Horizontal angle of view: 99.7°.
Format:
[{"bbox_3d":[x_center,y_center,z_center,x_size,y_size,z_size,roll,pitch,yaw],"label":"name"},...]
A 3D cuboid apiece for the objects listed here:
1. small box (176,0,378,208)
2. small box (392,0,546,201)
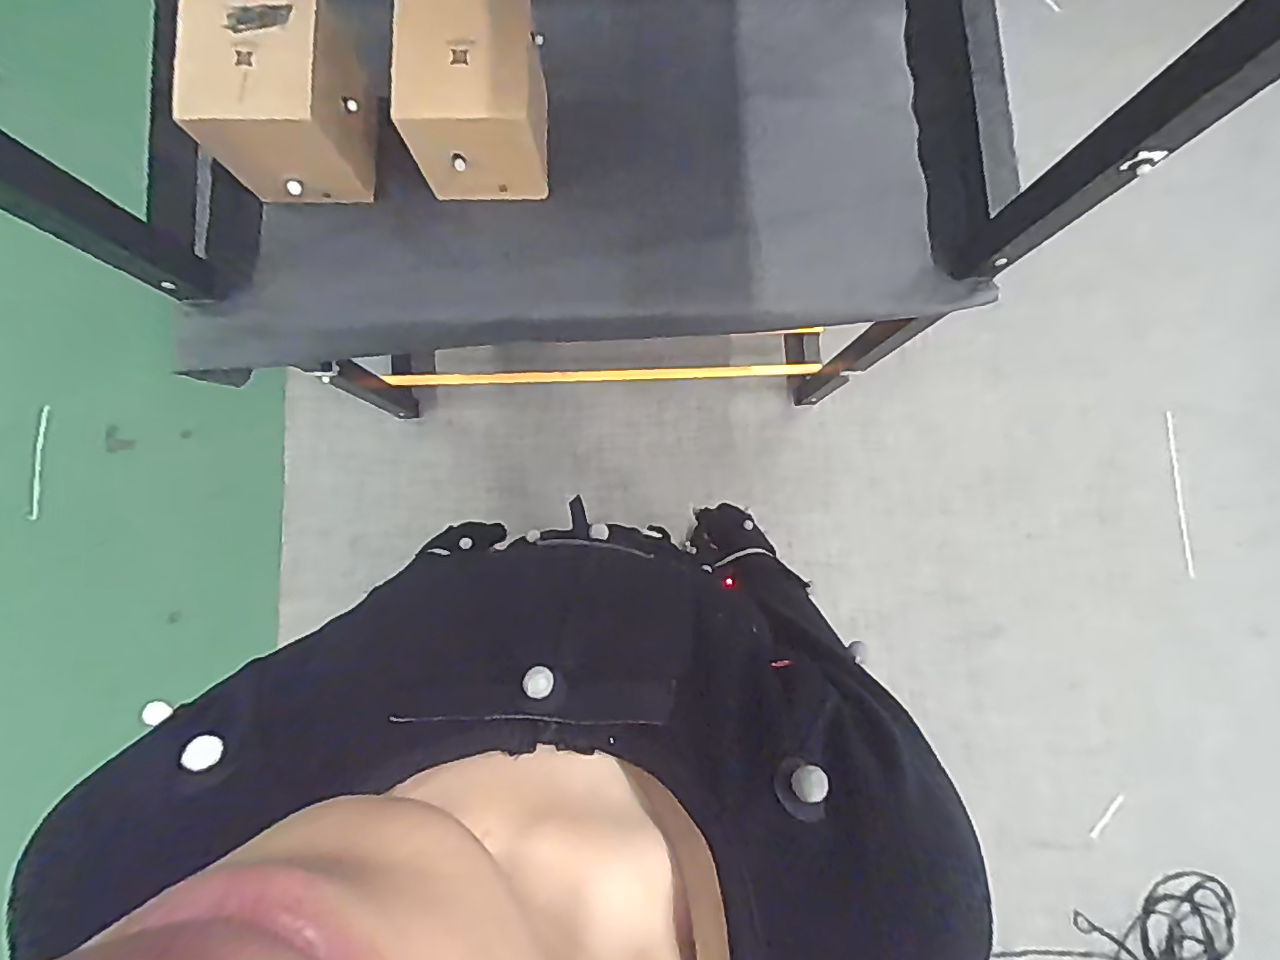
[{"bbox_3d":[-0.475,-0.503,0.736,0.168,0.176,0.179,-1,85,-2],"label":"small box"},{"bbox_3d":[-0.223,-0.511,0.746,0.168,0.176,0.179,-1,84,-2],"label":"small box"}]
